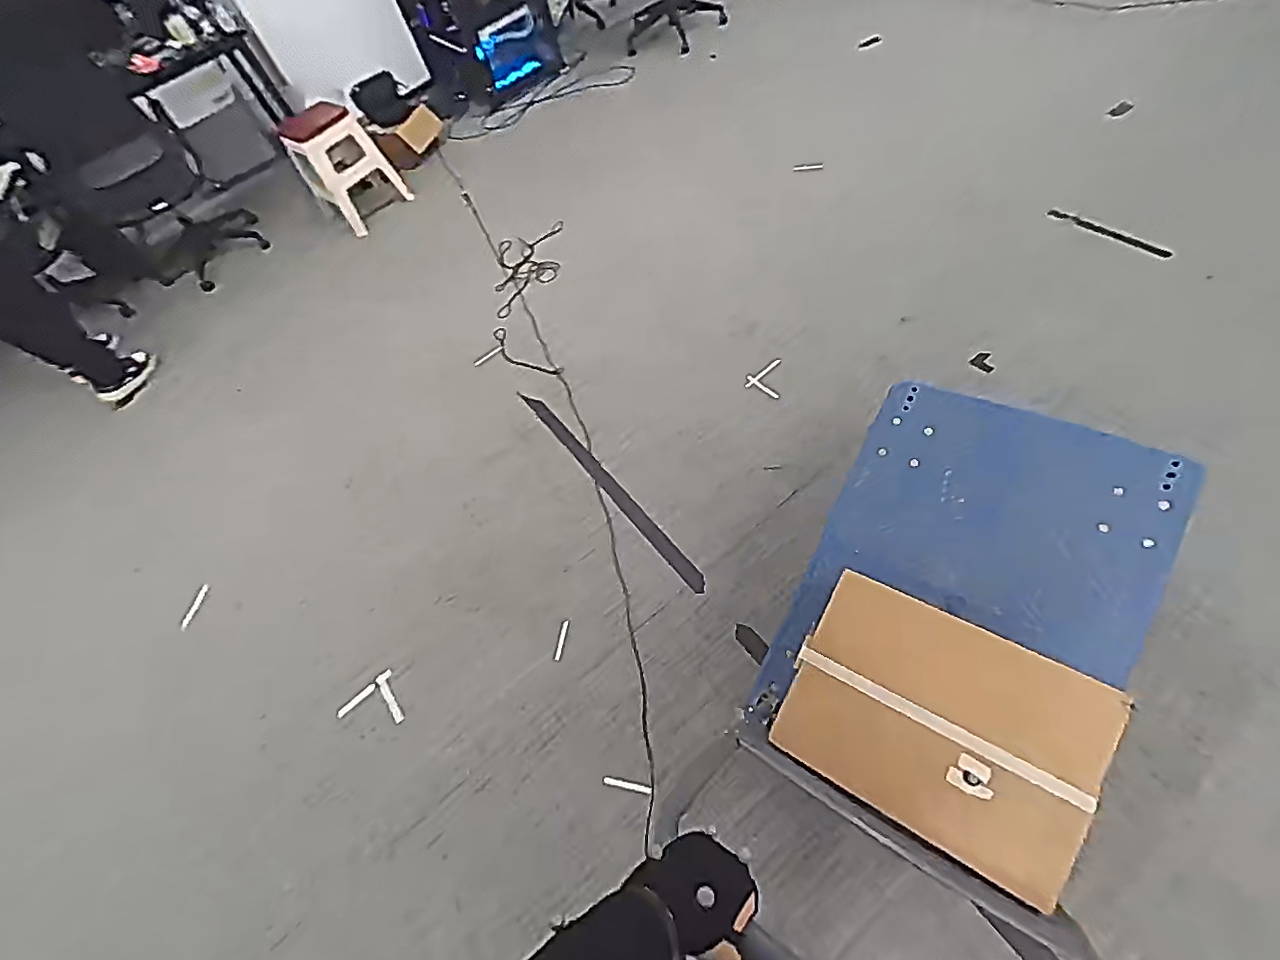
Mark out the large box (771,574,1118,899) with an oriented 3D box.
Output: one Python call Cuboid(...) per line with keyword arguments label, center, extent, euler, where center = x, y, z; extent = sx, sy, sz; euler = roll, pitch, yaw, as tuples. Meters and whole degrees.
Cuboid(label="large box", center=(0.493, 0.406, 0.962), extent=(0.408, 0.320, 0.320), euler=(25, 84, 25))
